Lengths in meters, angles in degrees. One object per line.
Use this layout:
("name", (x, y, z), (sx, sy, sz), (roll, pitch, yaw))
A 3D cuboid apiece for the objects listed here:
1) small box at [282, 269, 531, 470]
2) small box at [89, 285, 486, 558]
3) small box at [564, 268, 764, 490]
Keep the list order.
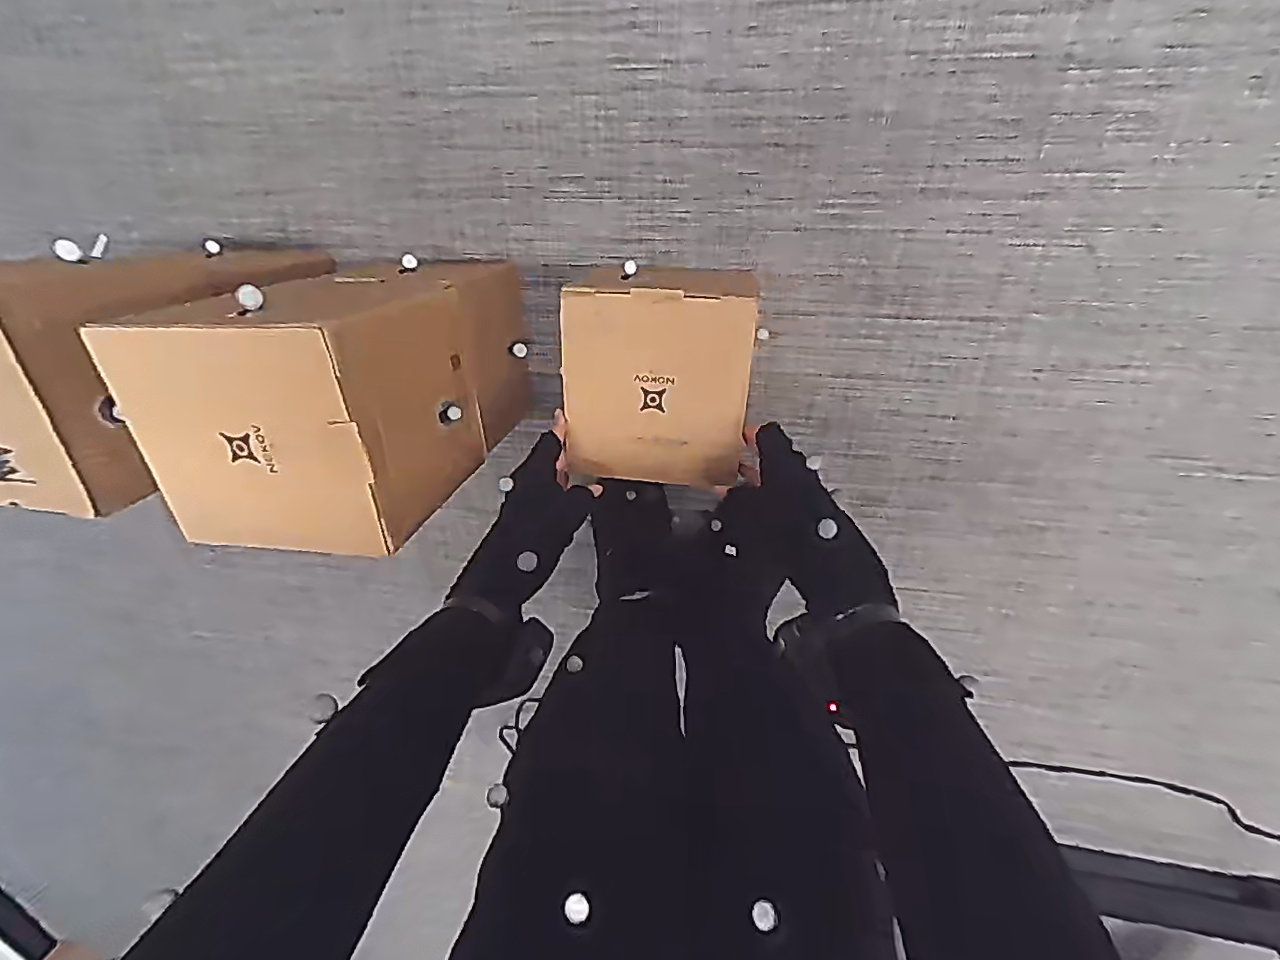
("small box", (-0.228, -0.127, 0.578), (0.168, 0.176, 0.179), (4, 117, 10))
("small box", (-0.249, -0.057, 0.433), (0.179, 0.176, 0.168), (2, 118, 9))
("small box", (0.026, -0.111, 0.543), (0.168, 0.176, 0.179), (6, 119, 8))
